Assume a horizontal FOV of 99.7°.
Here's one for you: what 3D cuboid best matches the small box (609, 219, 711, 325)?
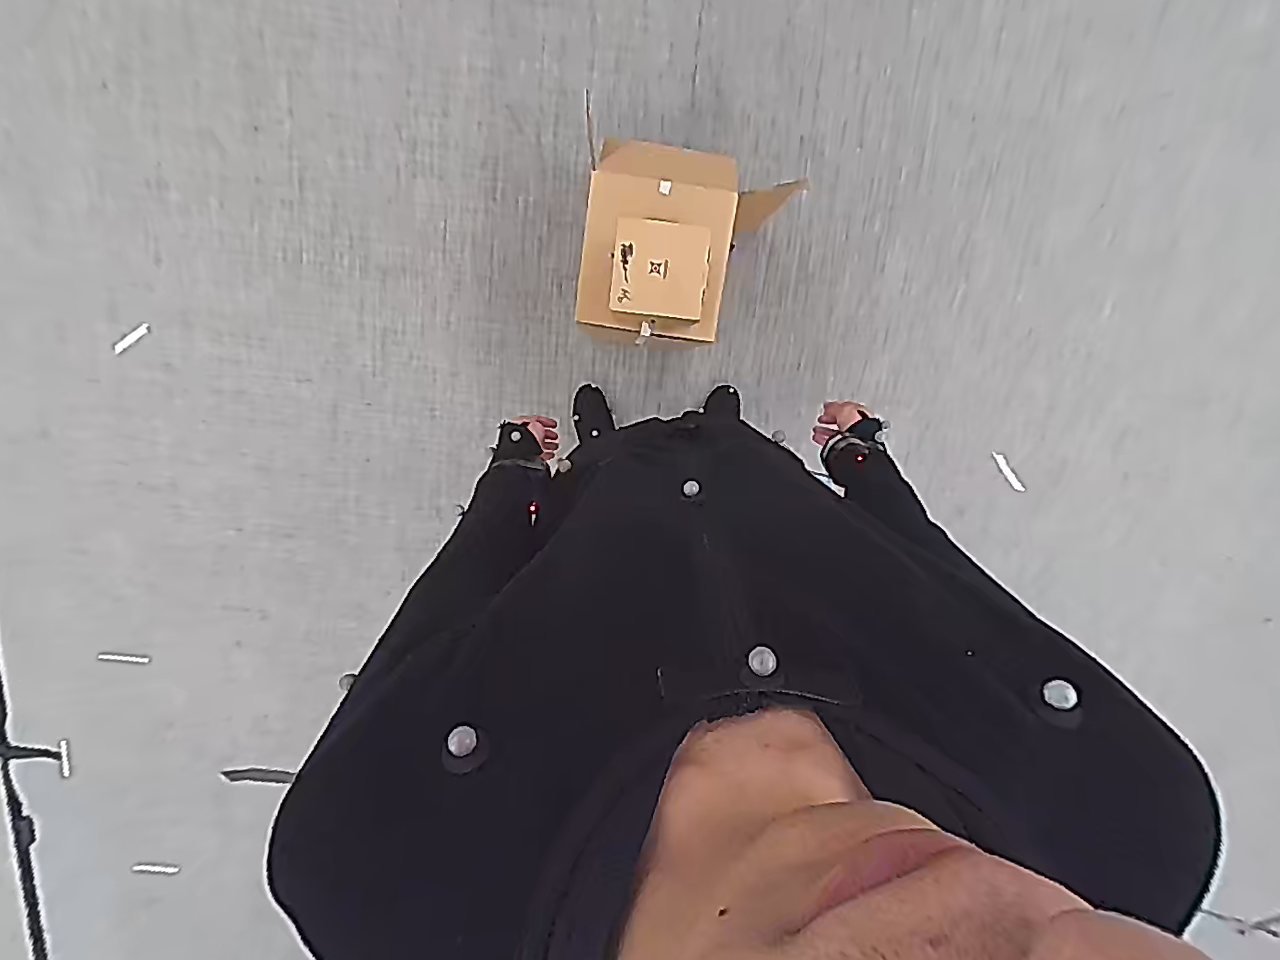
[{"bbox_3d":[0.034,-0.406,1.085,0.179,0.176,0.168,7,103,-3],"label":"small box"}]
